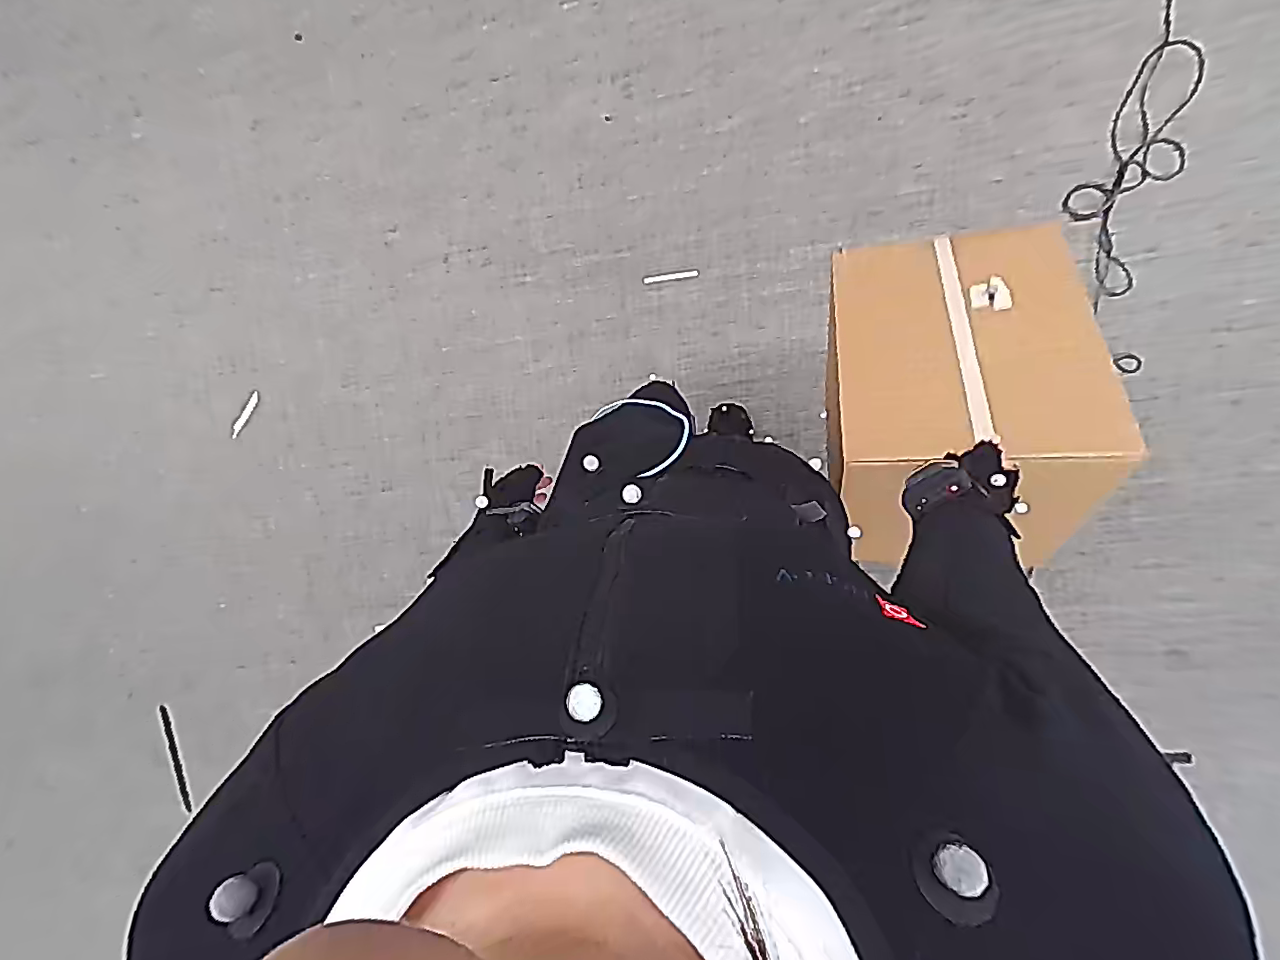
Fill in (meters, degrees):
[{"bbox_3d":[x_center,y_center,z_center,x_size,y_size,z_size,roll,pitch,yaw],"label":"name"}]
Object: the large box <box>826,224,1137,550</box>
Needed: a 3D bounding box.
[{"bbox_3d":[0.473,-0.129,0.865,0.320,0.320,0.408,-1,60,15],"label":"large box"}]
